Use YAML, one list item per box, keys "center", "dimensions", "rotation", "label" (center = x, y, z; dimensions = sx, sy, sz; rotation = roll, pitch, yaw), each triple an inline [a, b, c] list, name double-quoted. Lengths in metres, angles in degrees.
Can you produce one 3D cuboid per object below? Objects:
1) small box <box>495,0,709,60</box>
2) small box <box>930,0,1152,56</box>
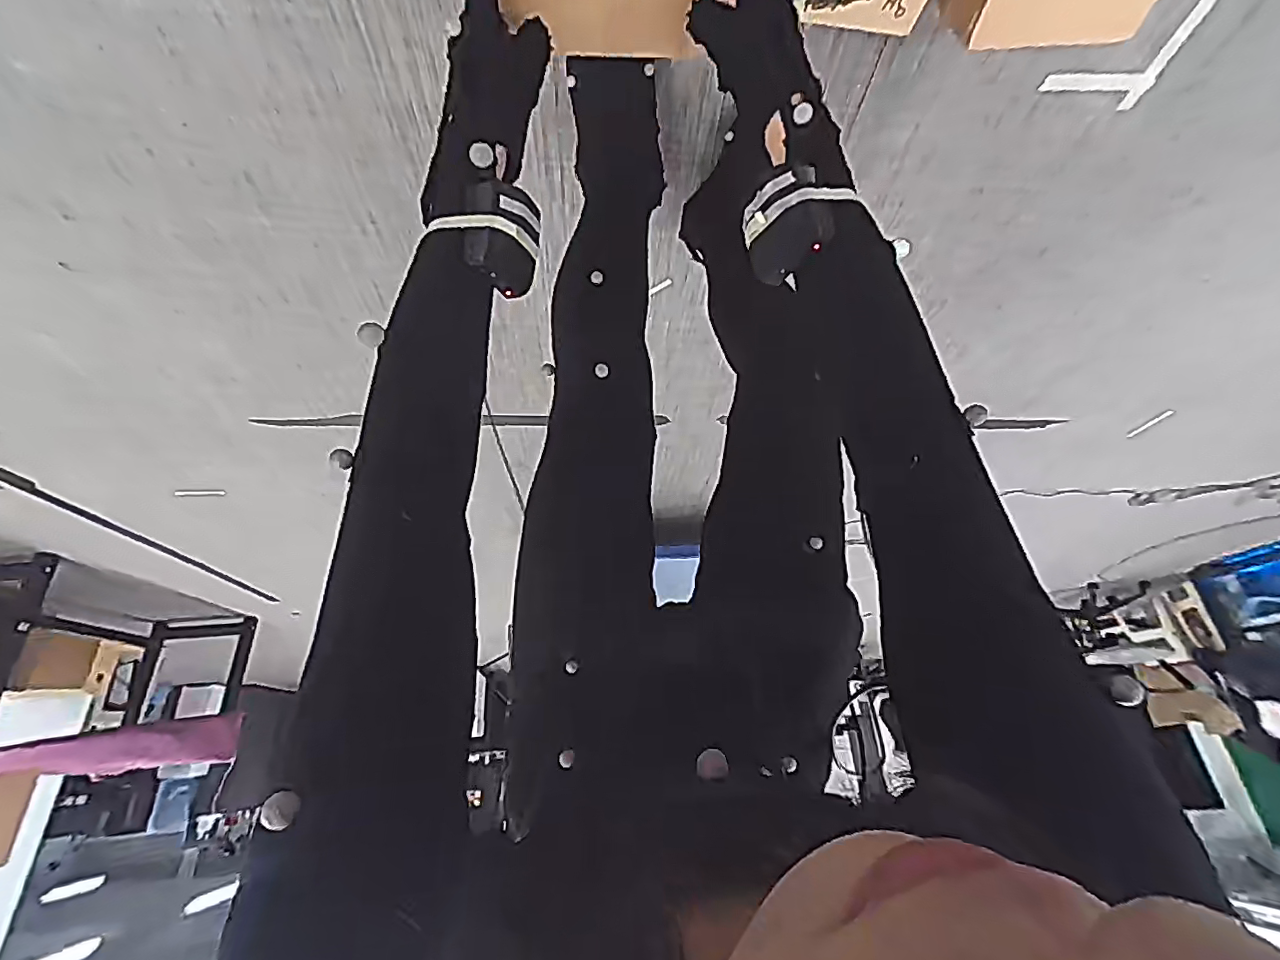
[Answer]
- center: [-0.038, -0.479, 0.439]
  dimensions: [0.179, 0.176, 0.168]
  rotation: [-6, 151, -10]
  label: "small box"
- center: [0.407, -0.551, 0.526]
  dimensions: [0.179, 0.176, 0.168]
  rotation: [-4, 153, -2]
  label: "small box"
